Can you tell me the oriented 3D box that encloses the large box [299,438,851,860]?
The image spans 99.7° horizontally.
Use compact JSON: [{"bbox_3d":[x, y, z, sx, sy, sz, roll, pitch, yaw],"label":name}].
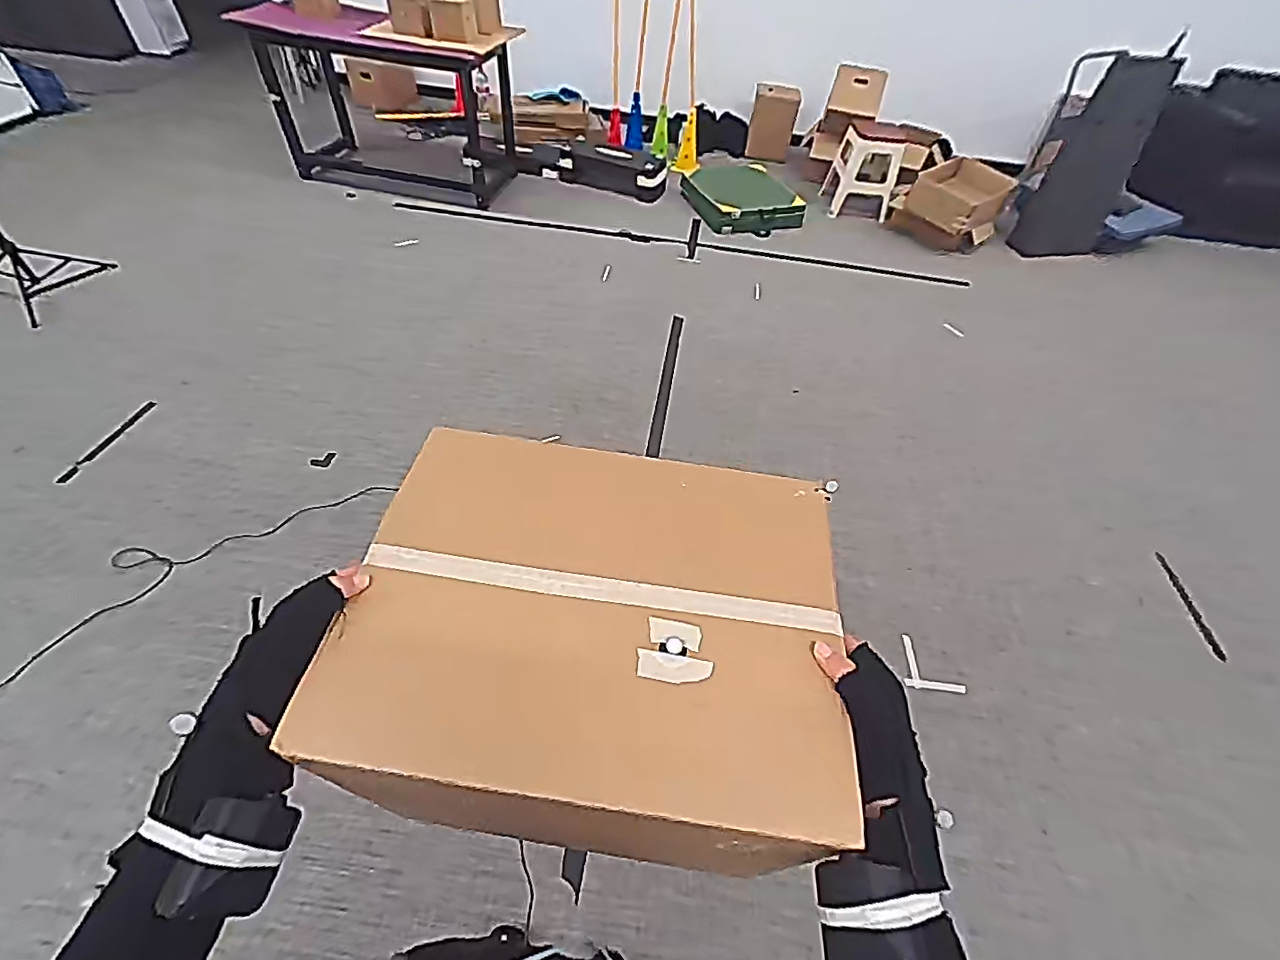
[{"bbox_3d":[-0.043,0.190,0.587,0.408,0.320,0.320,9,52,1],"label":"large box"}]
